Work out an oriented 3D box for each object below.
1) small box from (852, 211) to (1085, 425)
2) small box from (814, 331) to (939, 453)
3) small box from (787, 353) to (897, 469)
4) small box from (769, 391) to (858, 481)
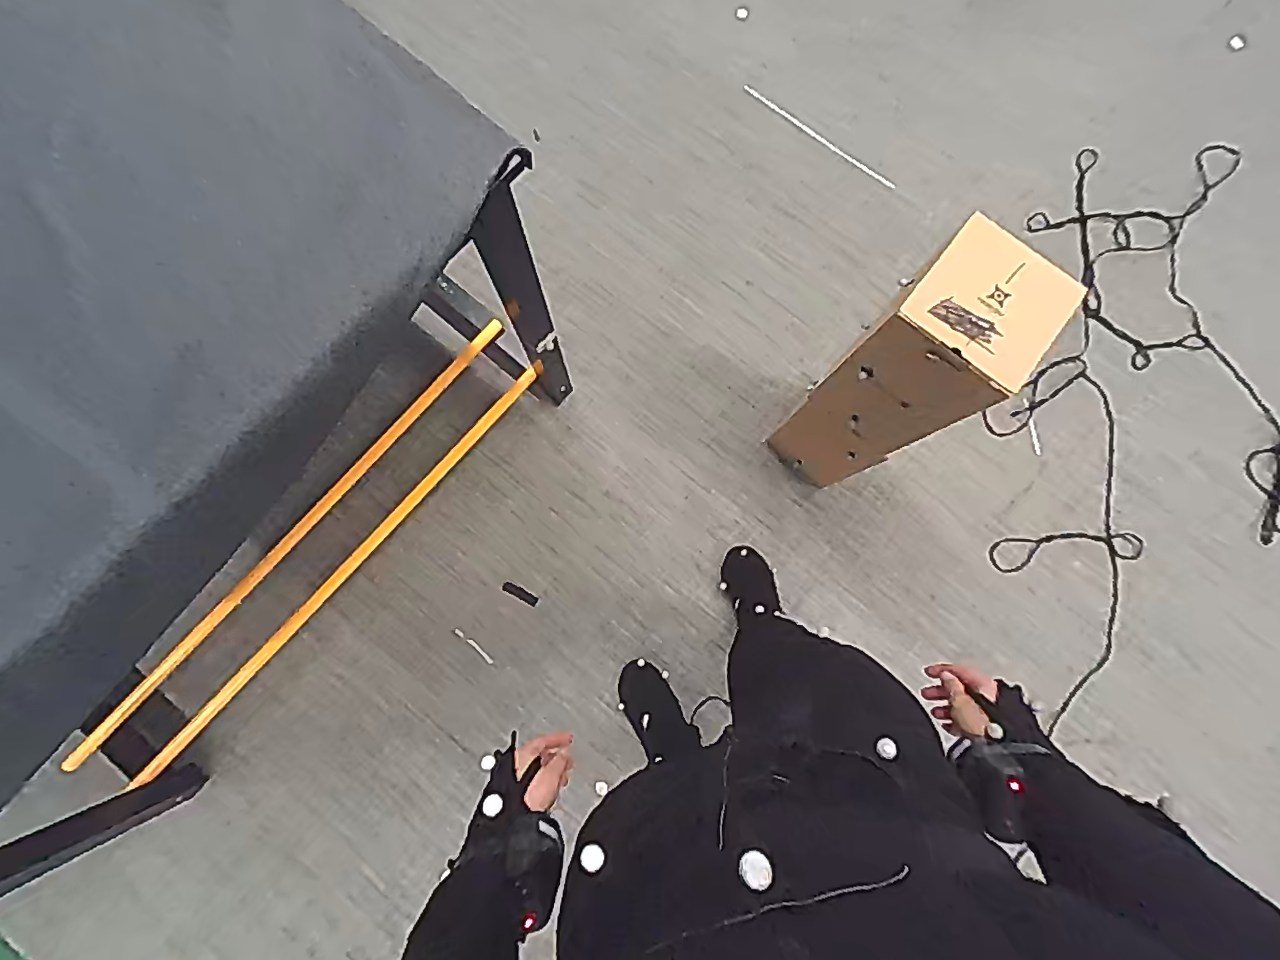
[{"bbox_3d":[0.411,-0.198,0.714,0.168,0.176,0.179,39,80,4],"label":"small box"},{"bbox_3d":[0.414,-0.171,0.876,0.168,0.176,0.179,41,82,6],"label":"small box"},{"bbox_3d":[0.416,-0.138,1.037,0.179,0.176,0.168,39,81,6],"label":"small box"},{"bbox_3d":[0.417,-0.112,1.198,0.179,0.176,0.168,42,82,5],"label":"small box"}]
